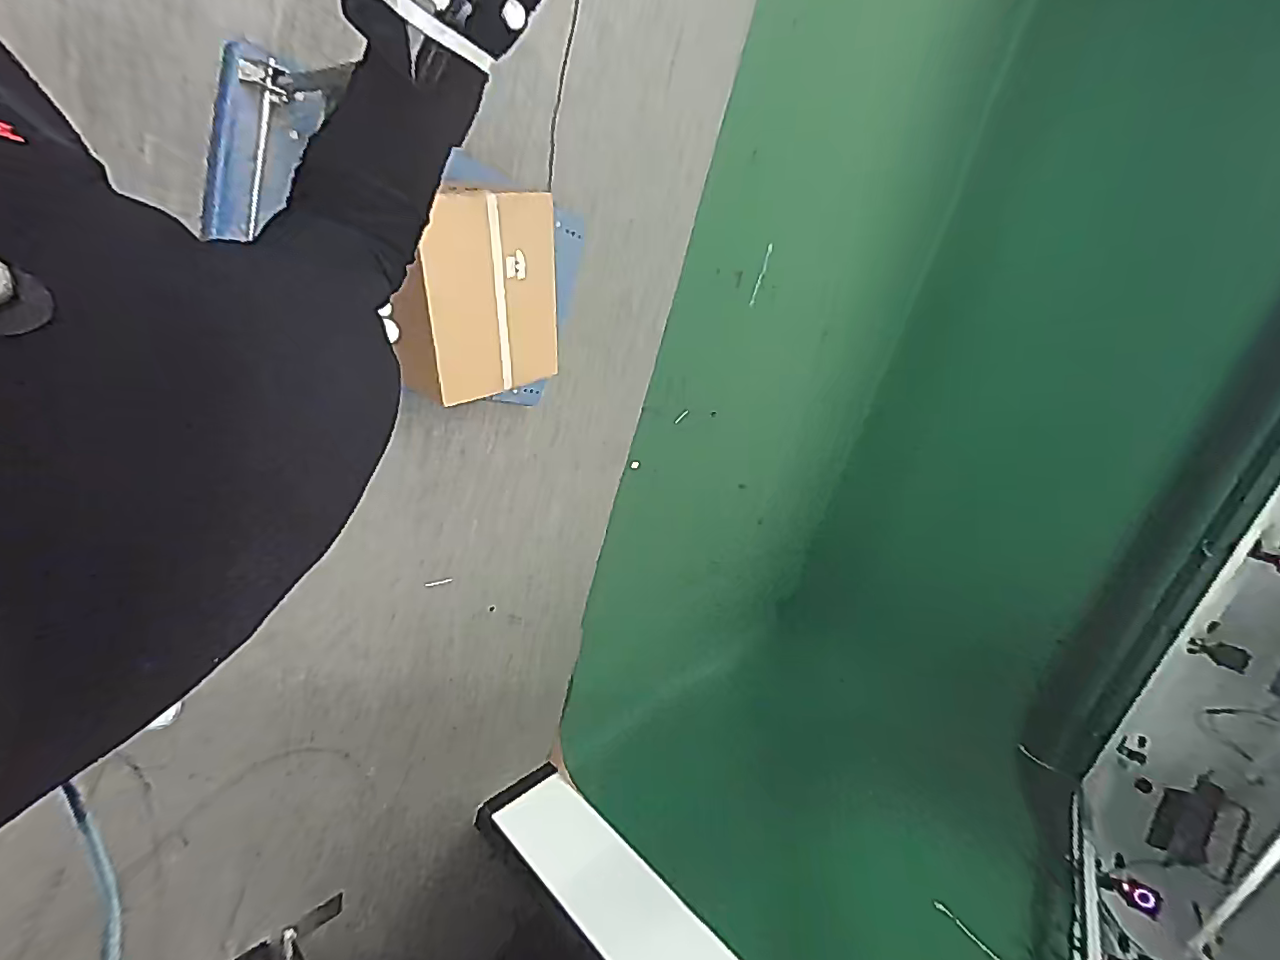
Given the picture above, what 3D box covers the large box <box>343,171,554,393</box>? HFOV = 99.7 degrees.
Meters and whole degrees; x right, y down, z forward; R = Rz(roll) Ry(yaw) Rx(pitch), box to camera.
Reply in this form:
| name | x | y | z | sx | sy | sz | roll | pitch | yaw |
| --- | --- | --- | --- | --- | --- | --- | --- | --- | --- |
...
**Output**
| name | x | y | z | sx | sy | sz | roll | pitch | yaw |
| --- | --- | --- | --- | --- | --- | --- | --- | --- | --- |
| large box | -0.418 | -0.460 | 1.228 | 0.320 | 0.320 | 0.408 | -27 | 132 | -40 |
